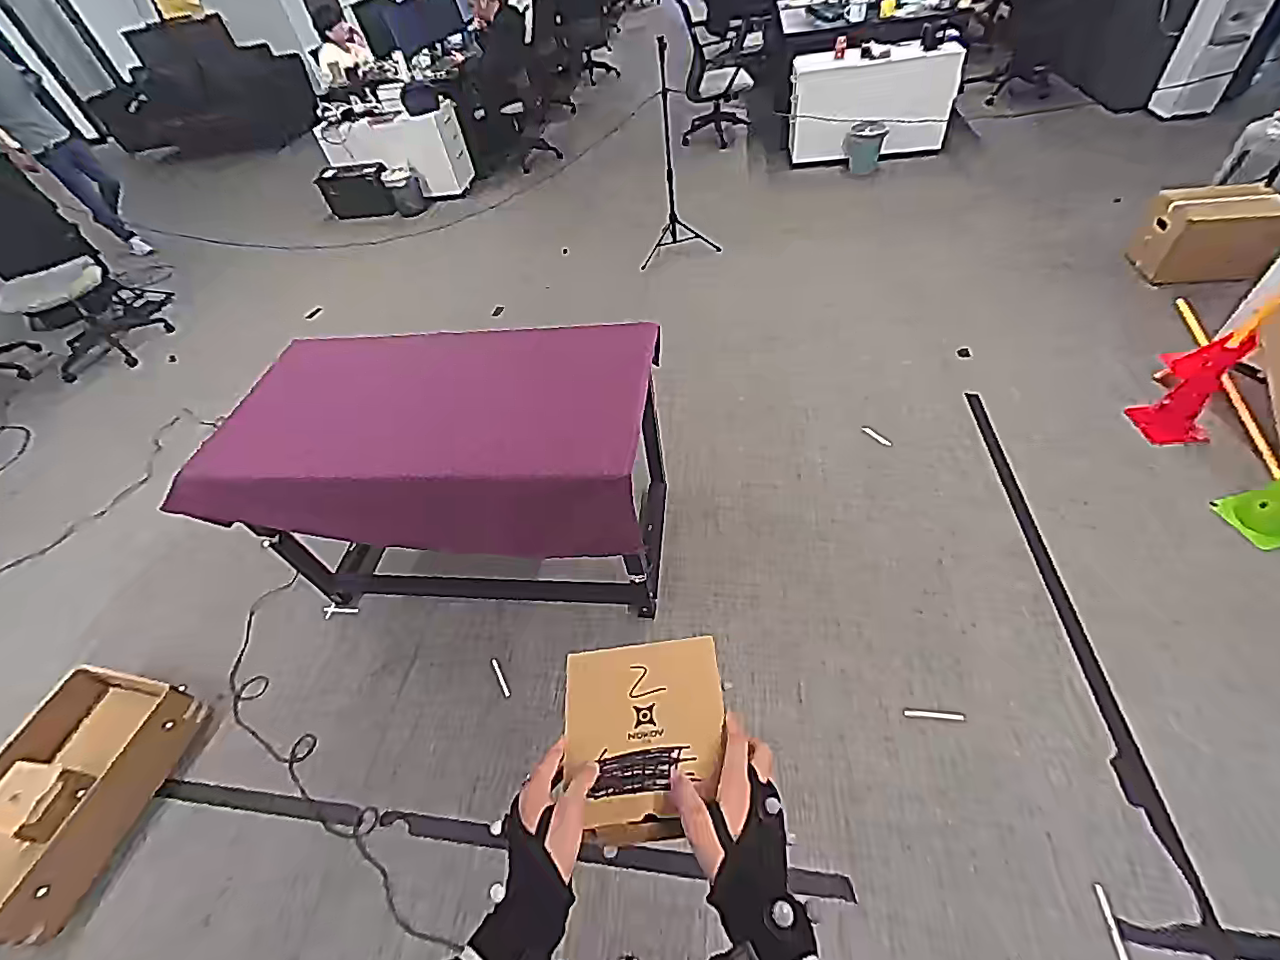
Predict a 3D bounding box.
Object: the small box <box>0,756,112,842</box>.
[{"bbox_3d":[-1.648,0.886,1.498,0.179,0.176,0.168,1,47,11],"label":"small box"}]
